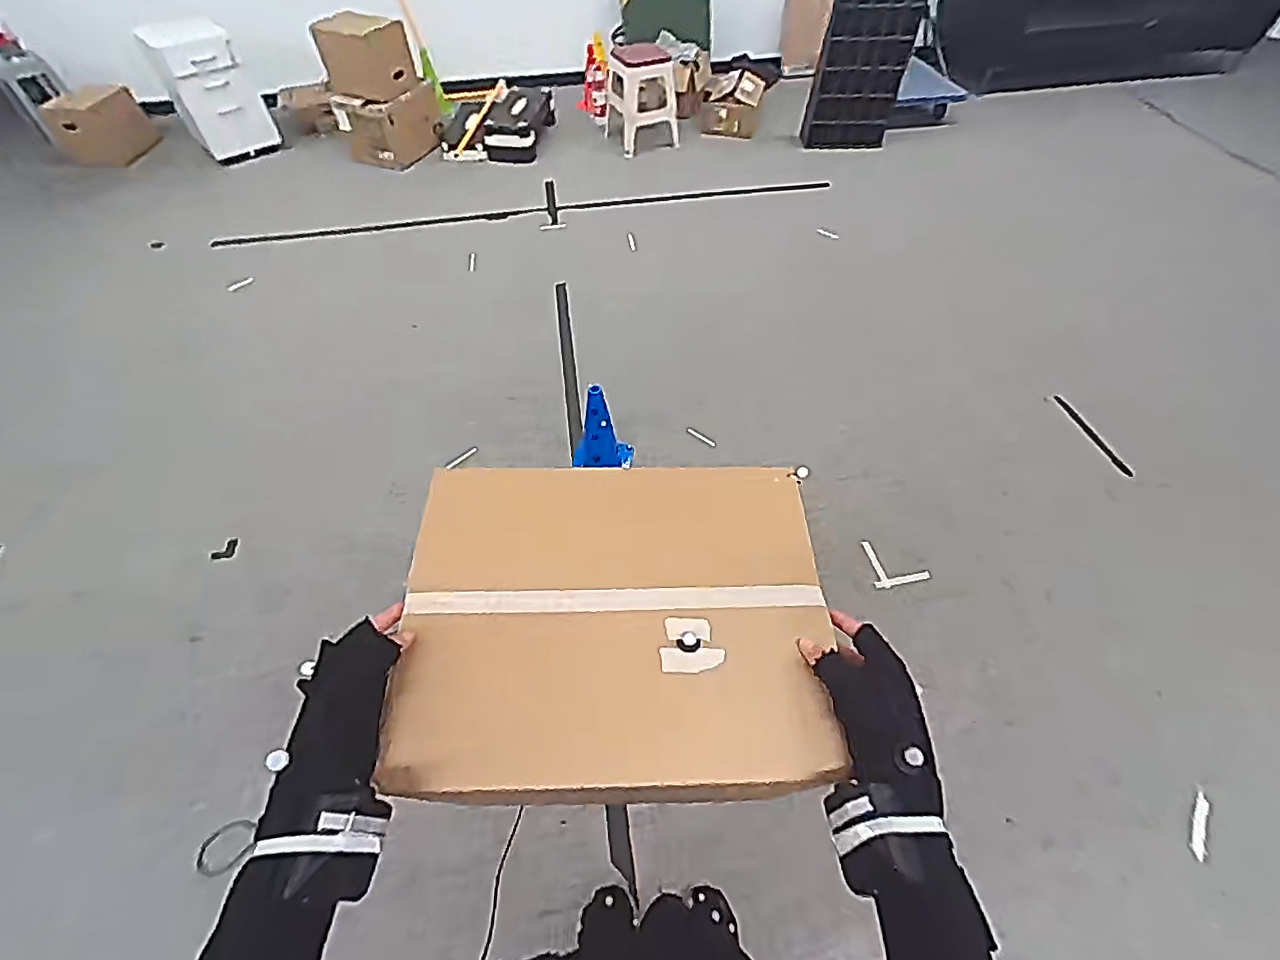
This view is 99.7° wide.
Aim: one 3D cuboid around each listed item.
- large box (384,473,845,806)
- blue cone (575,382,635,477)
[{"bbox_3d":[-0.030,0.205,0.664,0.408,0.320,0.320,0,57,-2],"label":"large box"},{"bbox_3d":[-0.123,-0.163,1.773,0.193,0.380,0.192,10,53,8],"label":"blue cone"}]
